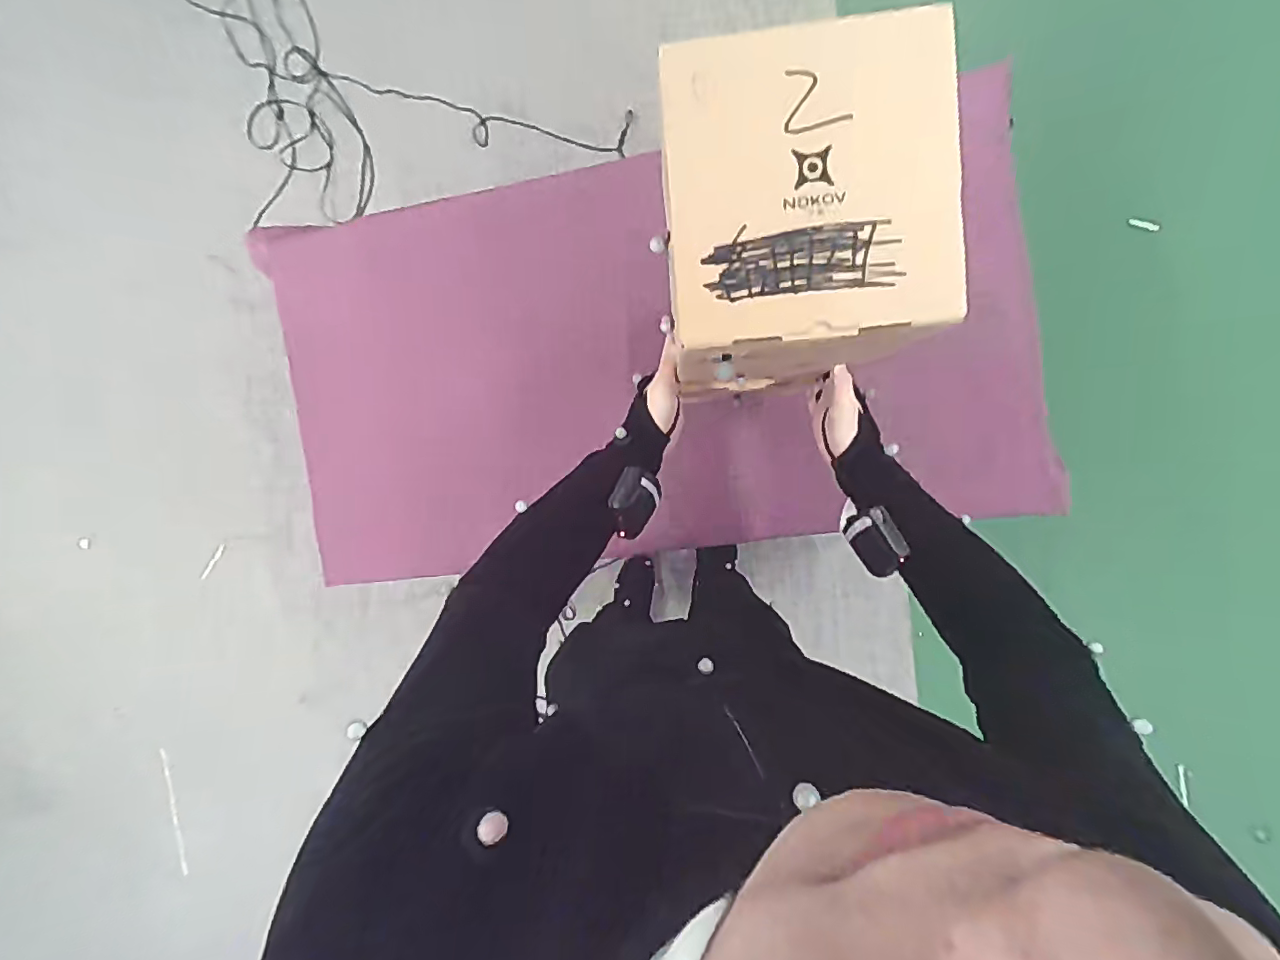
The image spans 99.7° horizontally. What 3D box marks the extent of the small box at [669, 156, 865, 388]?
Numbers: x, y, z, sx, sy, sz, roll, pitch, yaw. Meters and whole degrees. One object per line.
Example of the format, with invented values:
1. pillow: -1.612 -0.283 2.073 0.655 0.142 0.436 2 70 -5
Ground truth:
1. small box: 0.115 -0.192 0.547 0.168 0.176 0.179 -3 95 3

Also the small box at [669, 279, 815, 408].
1. small box: 0.124 -0.193 0.710 0.168 0.176 0.179 -4 94 5
